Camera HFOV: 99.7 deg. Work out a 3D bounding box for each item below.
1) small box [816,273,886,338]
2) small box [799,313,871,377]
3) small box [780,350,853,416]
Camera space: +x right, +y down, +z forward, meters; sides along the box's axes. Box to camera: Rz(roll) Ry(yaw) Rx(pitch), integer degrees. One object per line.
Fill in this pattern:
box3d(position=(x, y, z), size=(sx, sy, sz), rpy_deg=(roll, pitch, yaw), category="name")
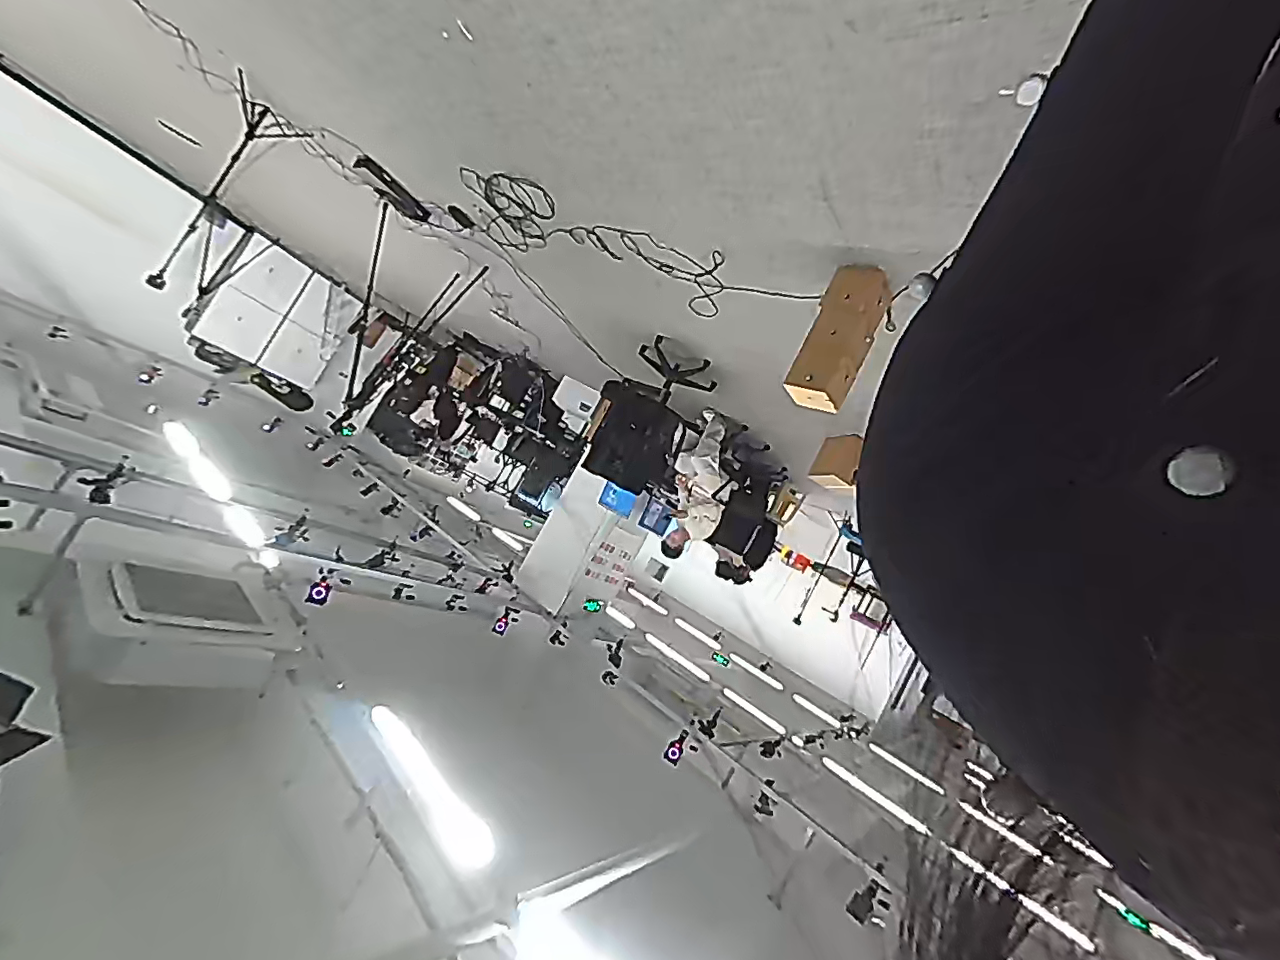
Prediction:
box3d(position=(0.797, -0.655, 2.024), size=(0.179, 0.176, 0.168), rpy_deg=(25, 173, 44), category="small box")
box3d(position=(0.731, -0.504, 2.021), size=(0.179, 0.176, 0.168), rpy_deg=(23, 173, 40), category="small box")
box3d(position=(0.654, -0.363, 2.000), size=(0.179, 0.176, 0.168), rpy_deg=(23, 173, 41), category="small box")
